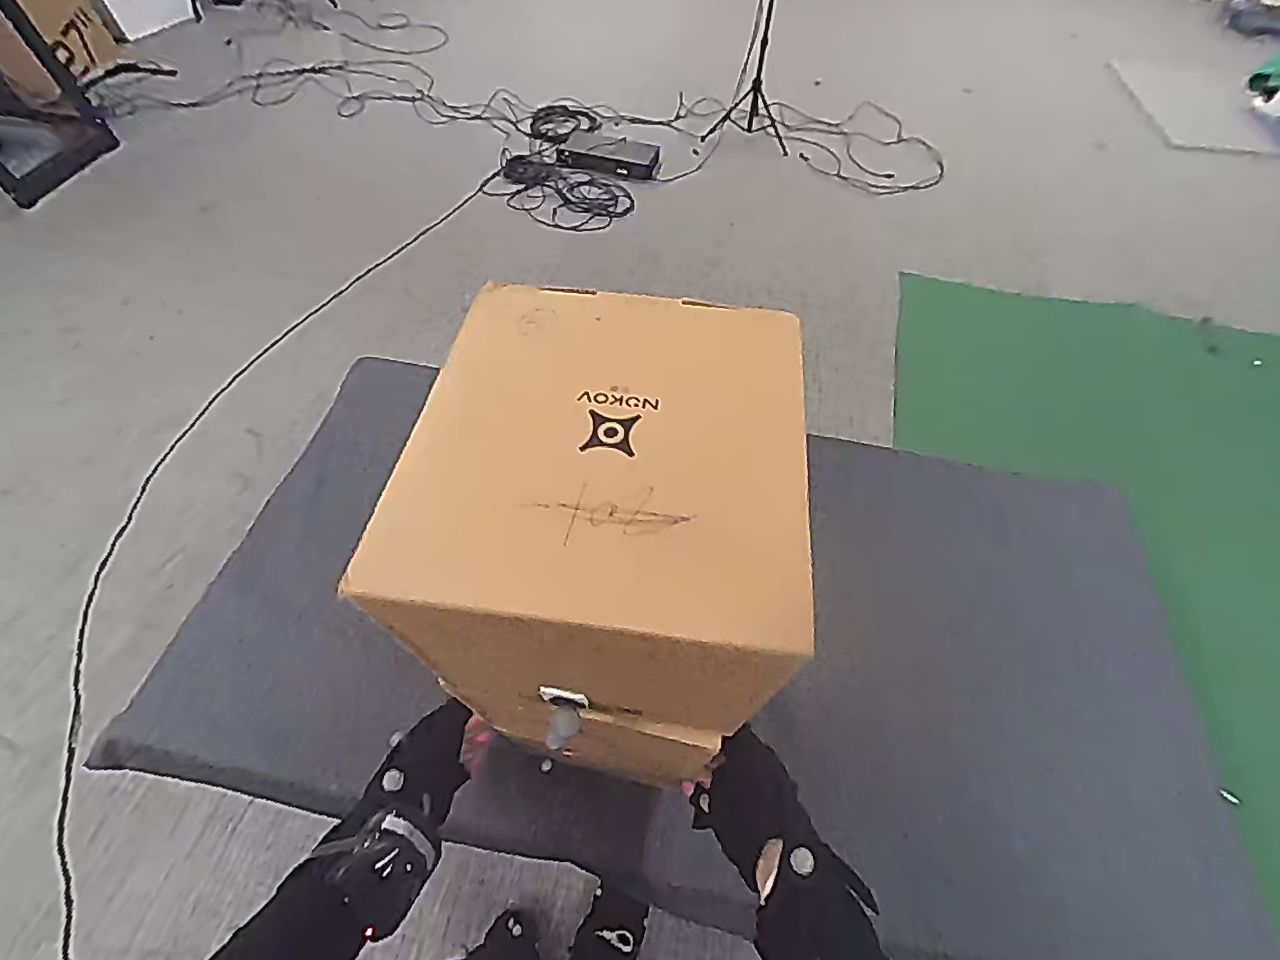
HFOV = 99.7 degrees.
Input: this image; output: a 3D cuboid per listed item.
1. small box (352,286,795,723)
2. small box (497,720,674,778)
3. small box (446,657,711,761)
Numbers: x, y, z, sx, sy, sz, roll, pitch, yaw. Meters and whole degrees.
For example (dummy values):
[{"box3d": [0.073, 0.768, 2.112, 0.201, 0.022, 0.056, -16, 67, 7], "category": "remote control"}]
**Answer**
[{"box3d": [-0.017, 0.021, 0.305, 0.168, 0.176, 0.179, 6, 57, 4], "category": "small box"}, {"box3d": [-0.031, 0.200, 0.576, 0.168, 0.176, 0.179, 10, 55, 6], "category": "small box"}, {"box3d": [-0.026, 0.116, 0.440, 0.179, 0.176, 0.168, 9, 55, 4], "category": "small box"}]
